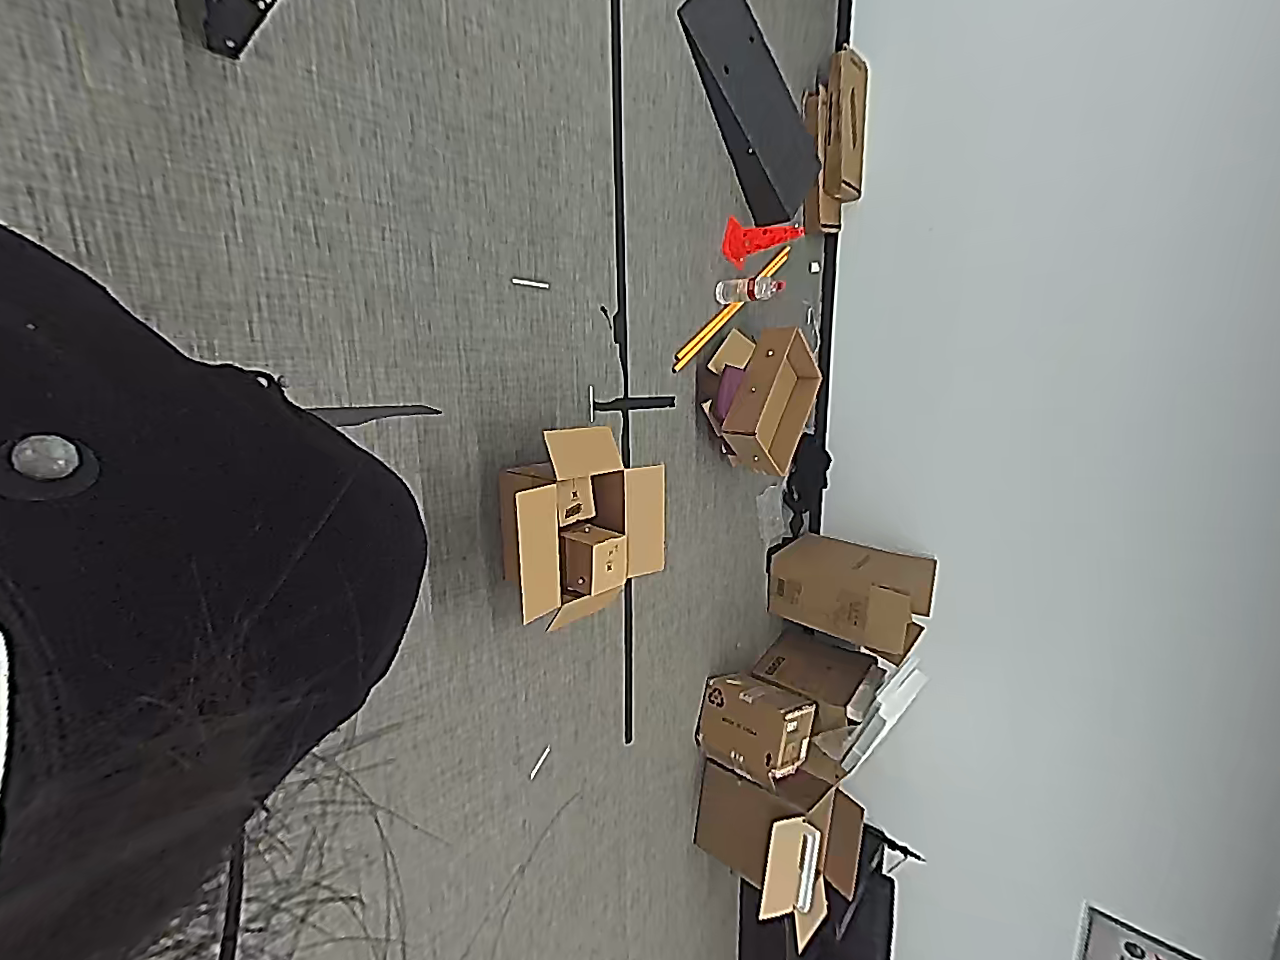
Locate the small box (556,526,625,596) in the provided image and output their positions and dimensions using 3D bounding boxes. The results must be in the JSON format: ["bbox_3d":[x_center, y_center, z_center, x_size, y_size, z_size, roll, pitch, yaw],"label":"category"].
[{"bbox_3d":[-0.170,0.266,1.819,0.168,0.176,0.179,-11,106,-49],"label":"small box"}]
